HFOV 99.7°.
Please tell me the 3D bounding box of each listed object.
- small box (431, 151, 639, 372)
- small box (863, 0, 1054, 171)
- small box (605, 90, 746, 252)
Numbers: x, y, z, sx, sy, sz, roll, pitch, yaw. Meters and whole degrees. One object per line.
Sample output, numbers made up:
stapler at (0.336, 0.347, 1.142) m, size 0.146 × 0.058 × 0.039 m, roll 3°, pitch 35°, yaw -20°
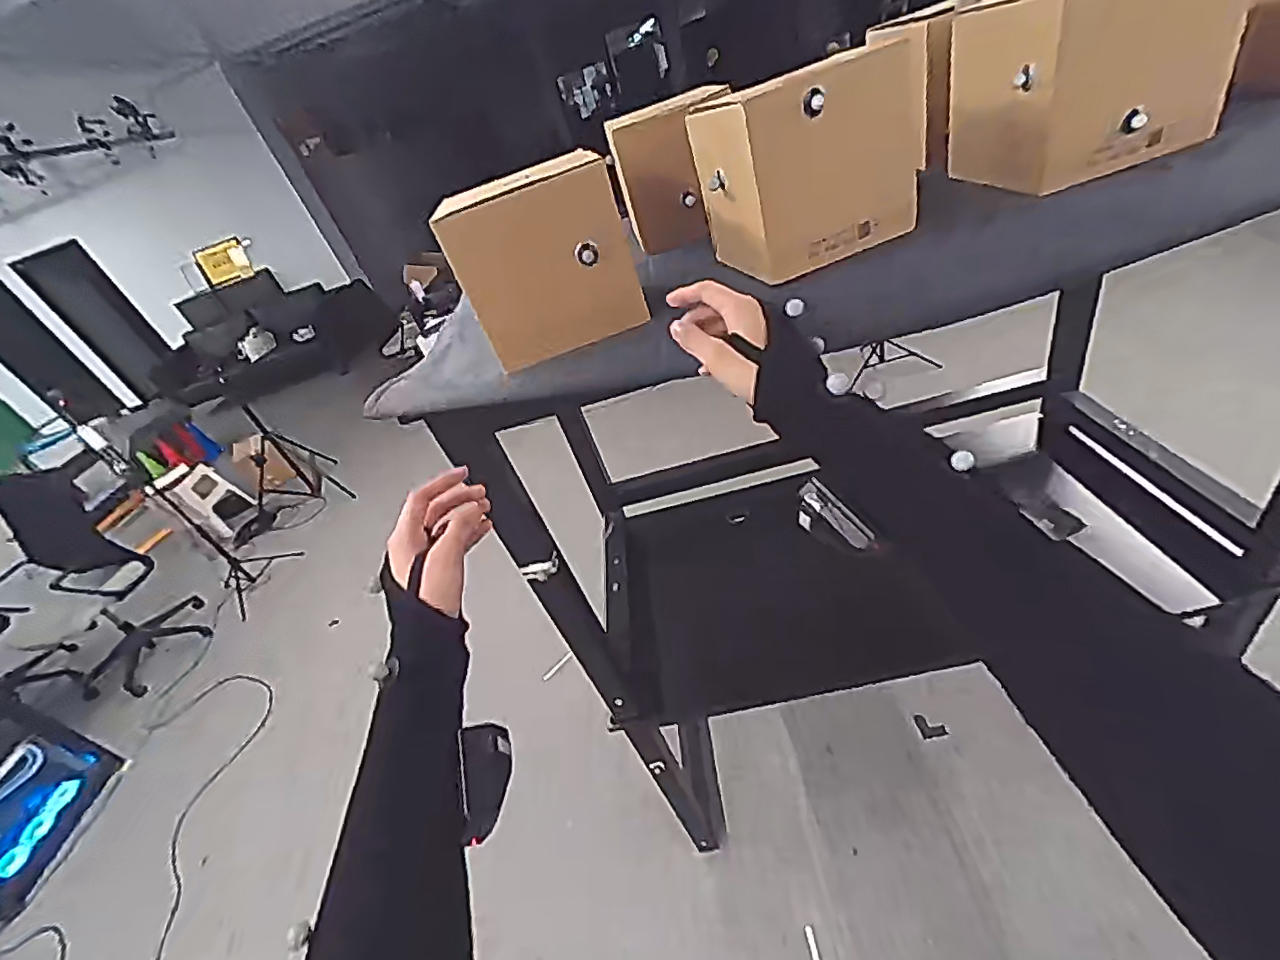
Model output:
small box at (-0.109, -0.249, 0.614) m, size 0.179 × 0.176 × 0.168 m, roll -20°, pitch 35°, yaw -1°
small box at (0.428, -0.546, 0.744) m, size 0.168 × 0.176 × 0.179 m, roll -17°, pitch 35°, yaw 5°
small box at (0.052, -0.468, 0.825) m, size 0.168 × 0.176 × 0.179 m, roll -17°, pitch 36°, yaw 5°
